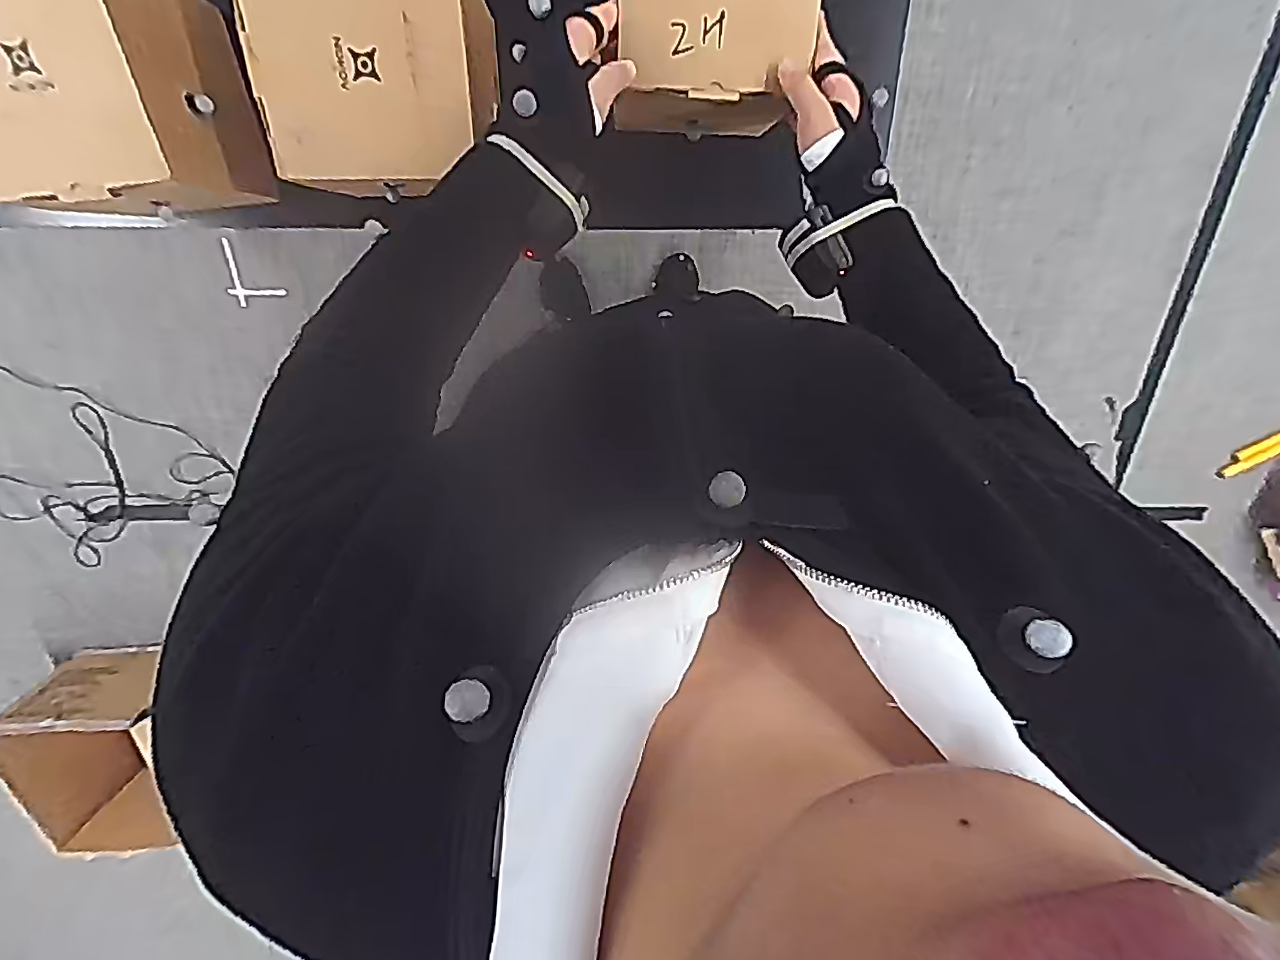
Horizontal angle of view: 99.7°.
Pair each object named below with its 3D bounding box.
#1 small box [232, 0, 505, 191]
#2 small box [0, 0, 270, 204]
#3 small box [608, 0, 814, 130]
[{"bbox_3d":[-0.236,-0.374,0.512,0.179,0.176,0.168,-1,113,-3],"label":"small box"},{"bbox_3d":[-0.493,-0.361,0.502,0.168,0.176,0.179,-7,114,0],"label":"small box"},{"bbox_3d":[0.055,-0.443,0.494,0.168,0.176,0.179,0,113,-4],"label":"small box"}]
